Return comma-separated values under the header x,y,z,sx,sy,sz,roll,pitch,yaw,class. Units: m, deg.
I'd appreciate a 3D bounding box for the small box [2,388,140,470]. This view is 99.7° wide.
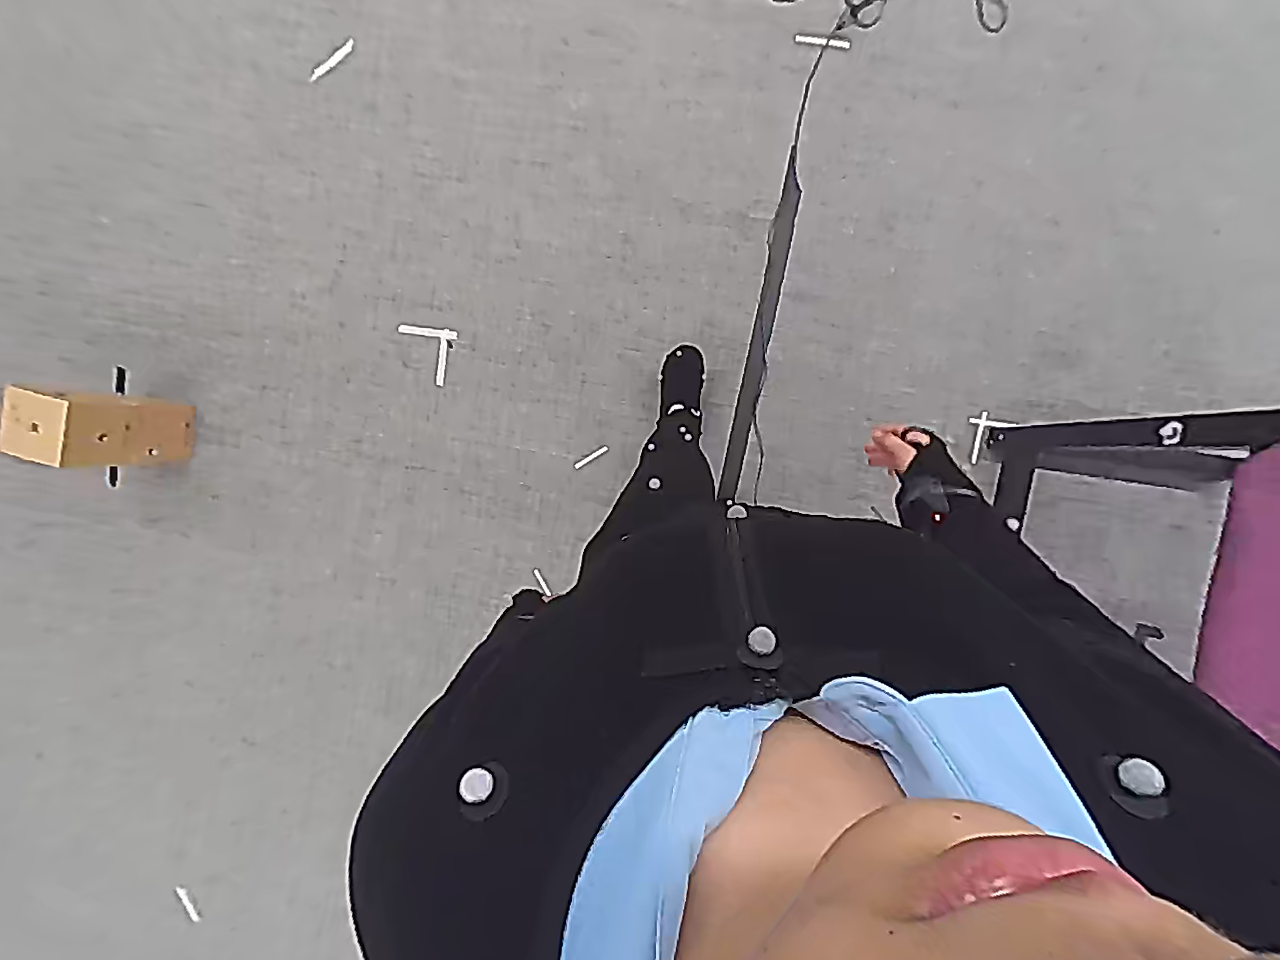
x,y,z,sx,sy,sz,roll,pitch,yaw,class
-1.447,-0.130,1.385,0.179,0.176,0.168,15,95,6,small box
